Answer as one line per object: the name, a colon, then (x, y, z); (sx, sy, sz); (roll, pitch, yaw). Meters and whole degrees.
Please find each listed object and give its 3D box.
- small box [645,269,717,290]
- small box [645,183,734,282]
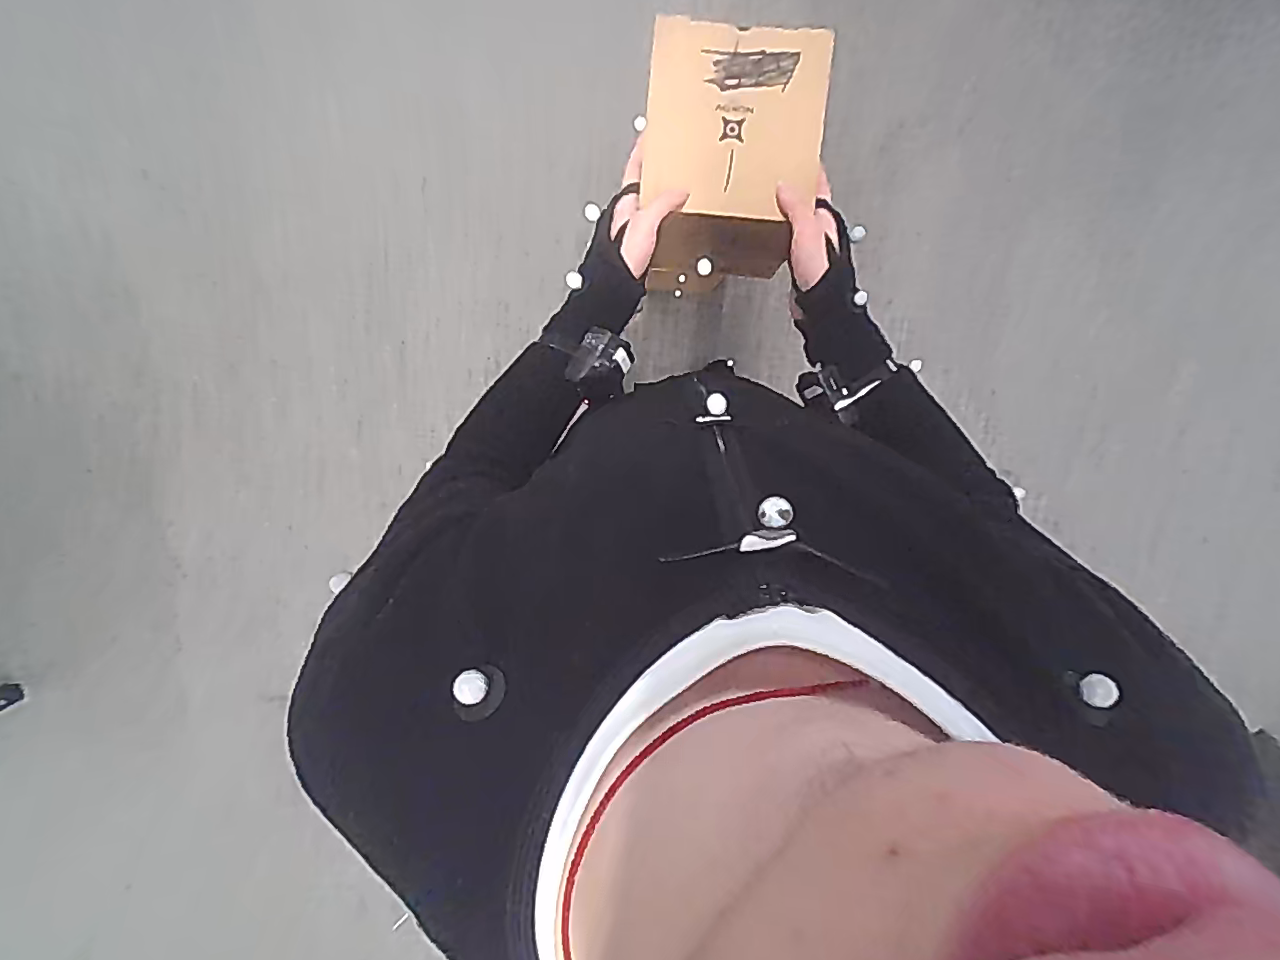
small box: (0.105, -0.581, 1.369); (0.179, 0.176, 0.168); (4, 102, 0)
small box: (0.103, -0.544, 1.210); (0.179, 0.176, 0.168); (3, 102, -1)
